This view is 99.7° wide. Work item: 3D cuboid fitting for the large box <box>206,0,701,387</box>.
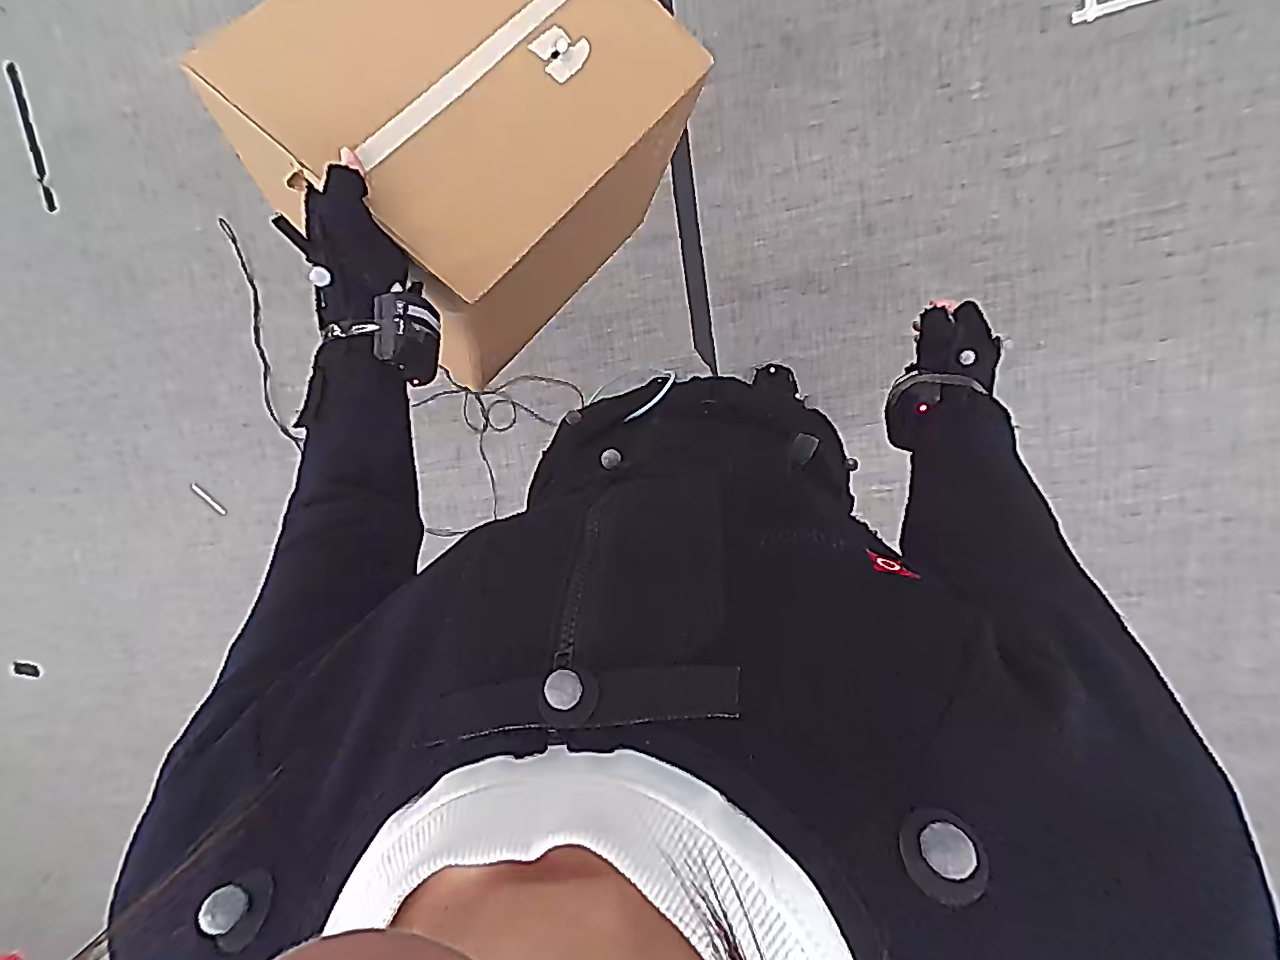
[{"bbox_3d":[-0.197,-0.396,0.687,0.320,0.320,0.408,40,74,-8],"label":"large box"}]
